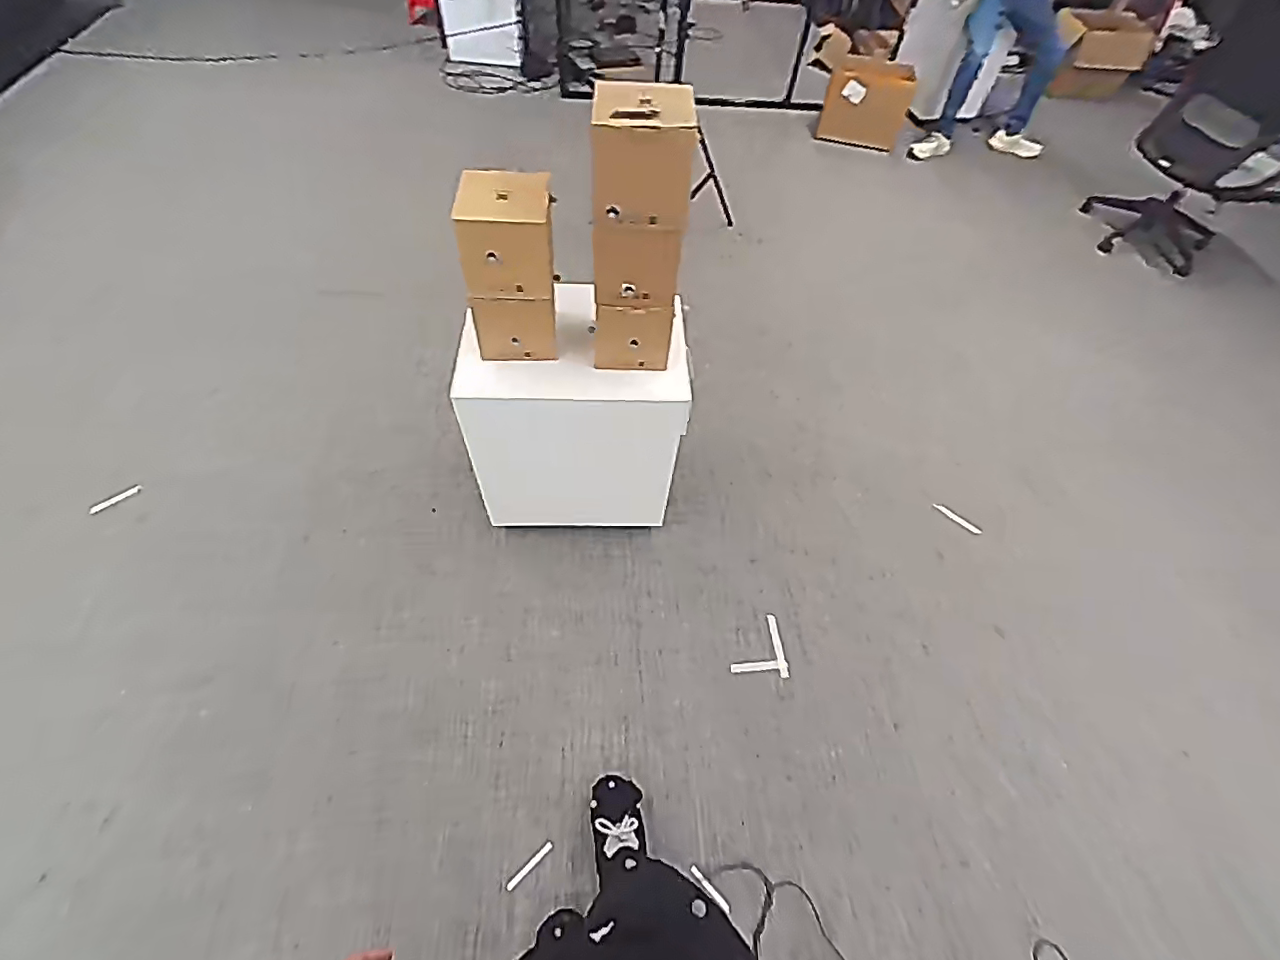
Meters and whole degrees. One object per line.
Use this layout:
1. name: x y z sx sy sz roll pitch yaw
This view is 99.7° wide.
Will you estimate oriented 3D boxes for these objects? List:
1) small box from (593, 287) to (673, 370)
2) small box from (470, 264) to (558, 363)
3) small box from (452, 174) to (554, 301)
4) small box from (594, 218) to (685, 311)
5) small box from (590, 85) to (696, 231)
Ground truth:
1. small box: -0.016 -0.361 1.202 0.168 0.176 0.179 0 57 -3
2. small box: -0.270 -0.381 1.193 0.168 0.176 0.179 -2 56 -6
3. small box: -0.256 -0.470 1.058 0.168 0.176 0.179 -1 55 -6
4. small box: -0.006 -0.461 1.072 0.168 0.176 0.179 0 56 -3
5. small box: 0.004 -0.552 0.936 0.168 0.176 0.179 1 54 -2
